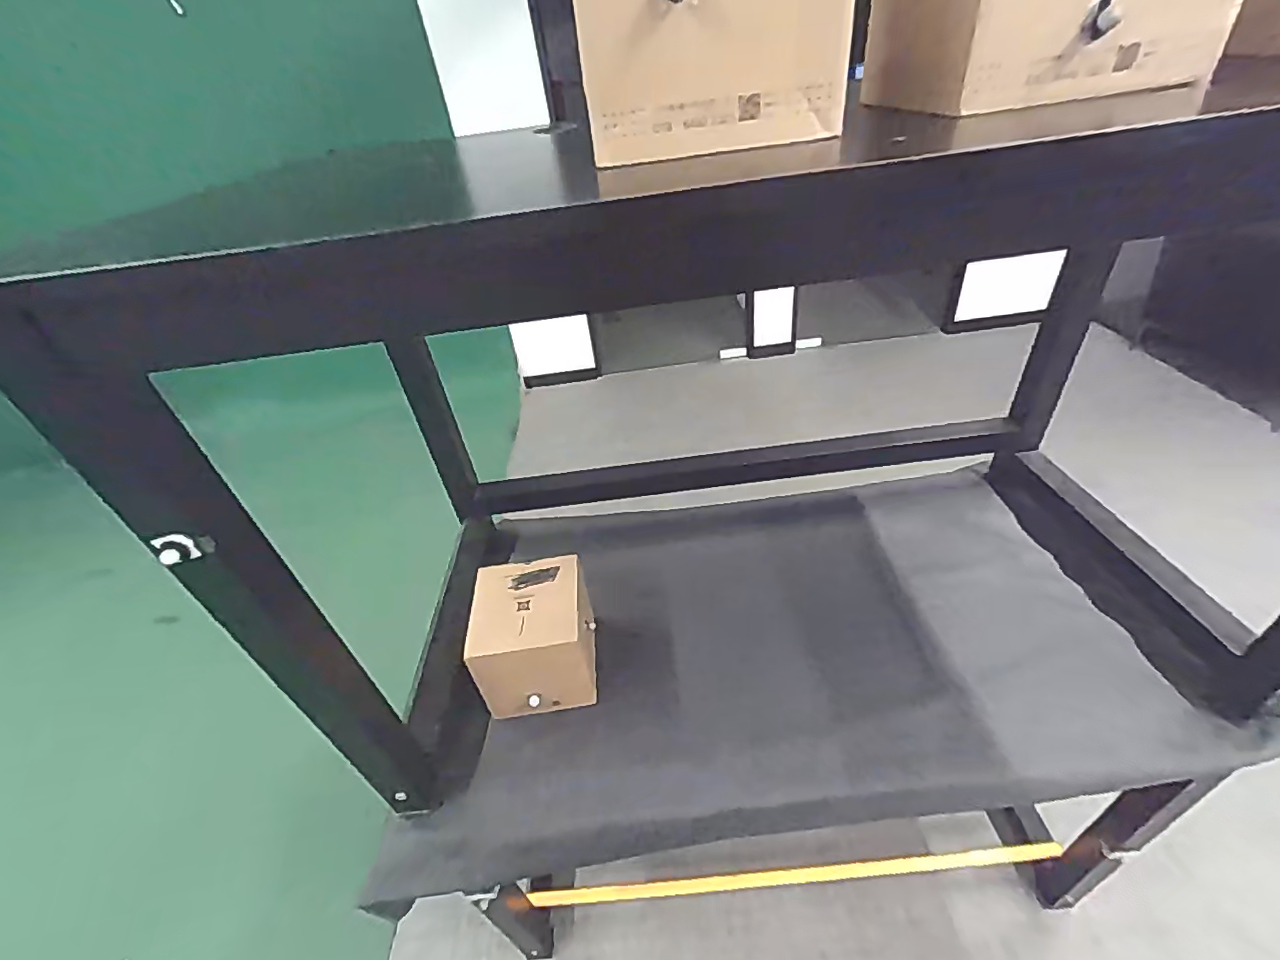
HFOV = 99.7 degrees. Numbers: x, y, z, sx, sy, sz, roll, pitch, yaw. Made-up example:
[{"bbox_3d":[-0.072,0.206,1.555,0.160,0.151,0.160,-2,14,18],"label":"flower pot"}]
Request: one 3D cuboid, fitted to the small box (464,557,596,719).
[{"bbox_3d":[-0.166,0.252,0.870,0.168,0.176,0.179,-9,37,0],"label":"small box"}]
